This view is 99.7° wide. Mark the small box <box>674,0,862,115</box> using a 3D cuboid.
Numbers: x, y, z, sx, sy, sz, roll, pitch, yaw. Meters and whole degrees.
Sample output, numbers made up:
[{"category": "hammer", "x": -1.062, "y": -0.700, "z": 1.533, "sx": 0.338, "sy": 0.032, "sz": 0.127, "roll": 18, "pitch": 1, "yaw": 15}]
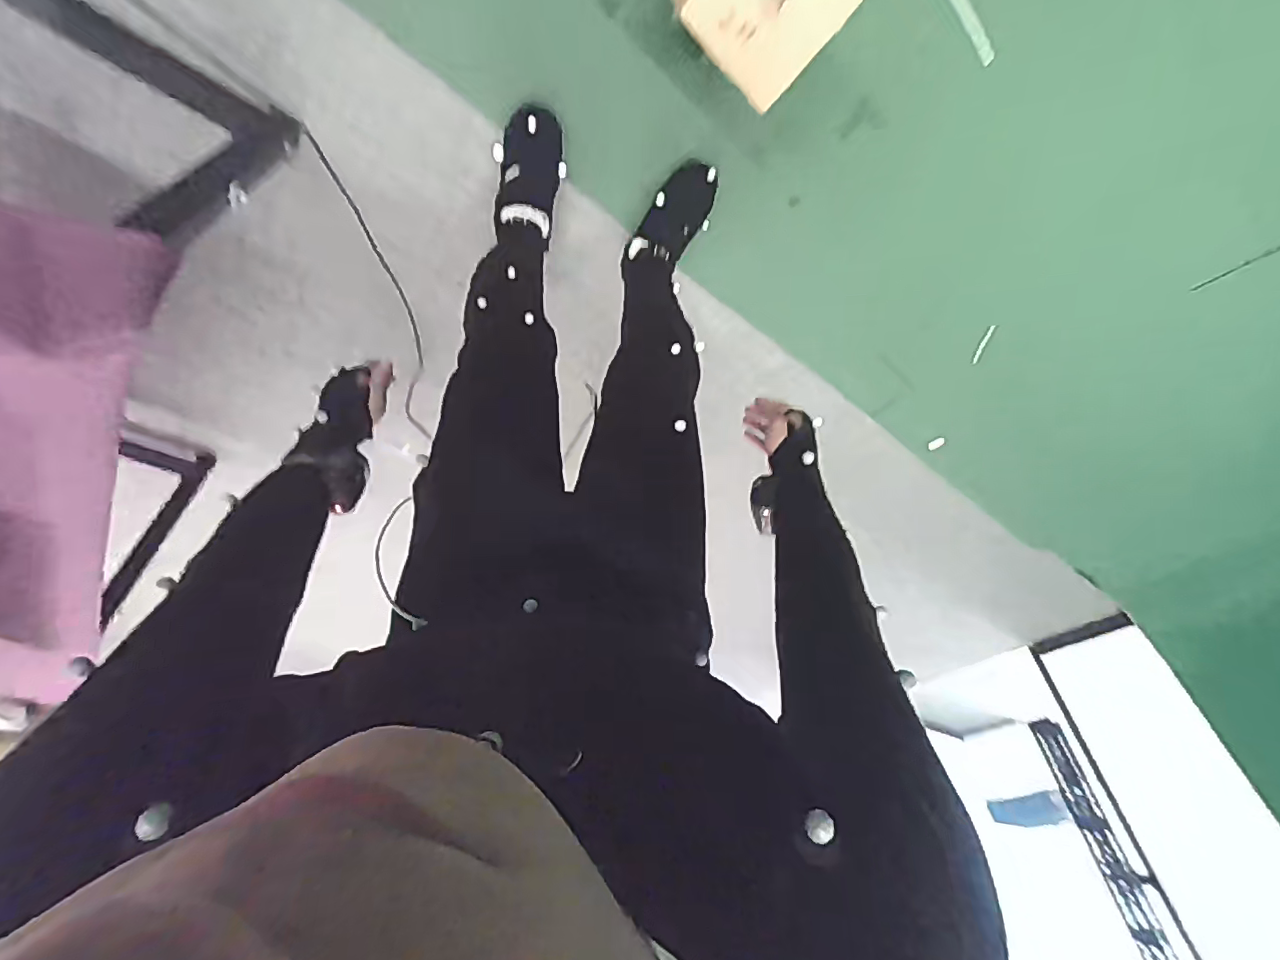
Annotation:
[{"category": "small box", "x": 0.159, "y": -0.645, "z": 0.719, "sx": 0.168, "sy": 0.176, "sz": 0.179, "roll": 30, "pitch": 129, "yaw": -30}]
